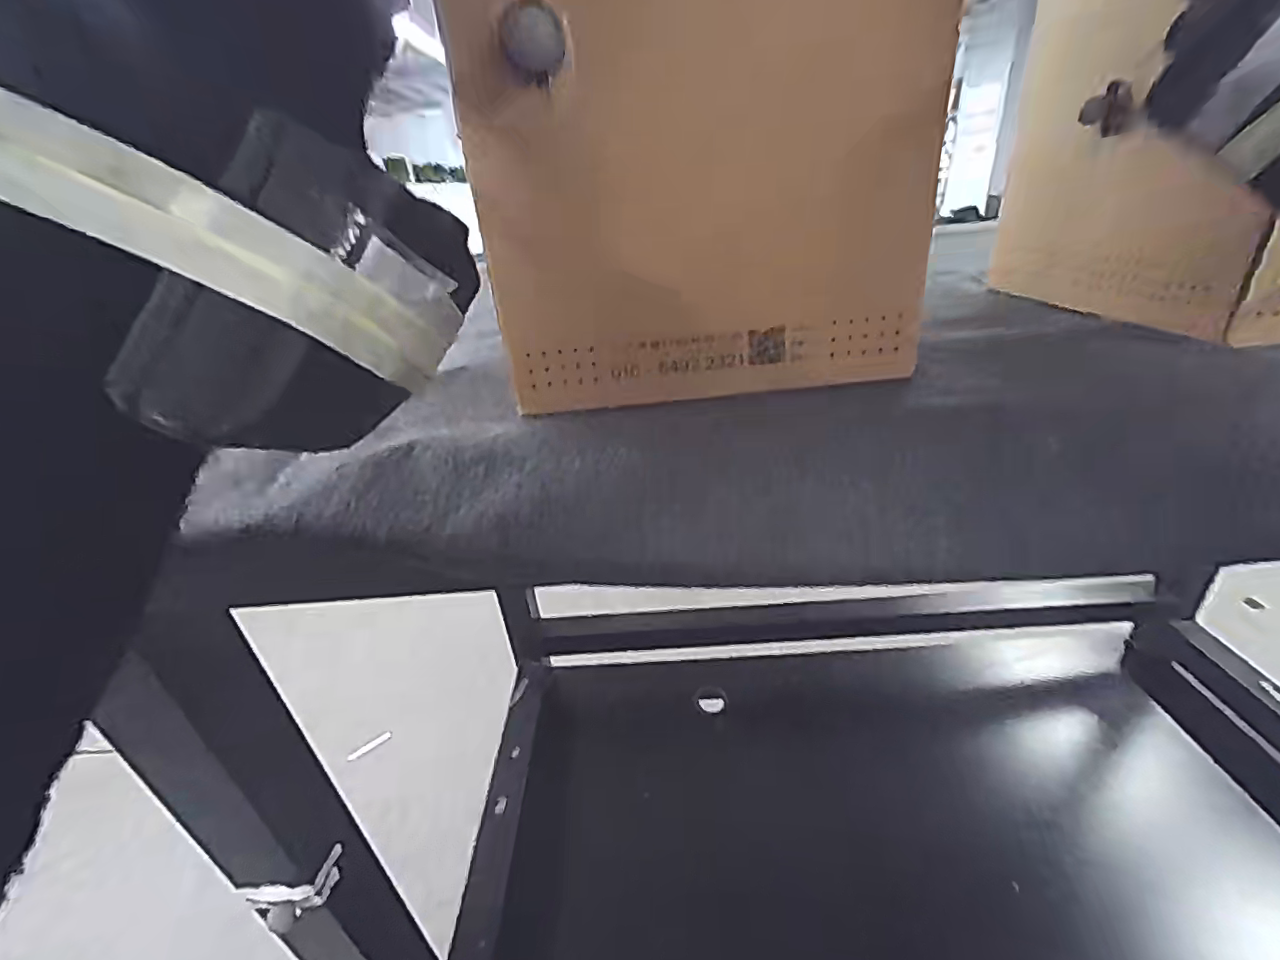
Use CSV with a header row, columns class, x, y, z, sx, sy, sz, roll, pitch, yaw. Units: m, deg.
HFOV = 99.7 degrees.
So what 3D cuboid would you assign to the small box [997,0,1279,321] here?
class,x,y,z,sx,sy,sz,roll,pitch,yaw
small box,0.307,-0.173,0.250,0.168,0.176,0.179,-4,26,3
